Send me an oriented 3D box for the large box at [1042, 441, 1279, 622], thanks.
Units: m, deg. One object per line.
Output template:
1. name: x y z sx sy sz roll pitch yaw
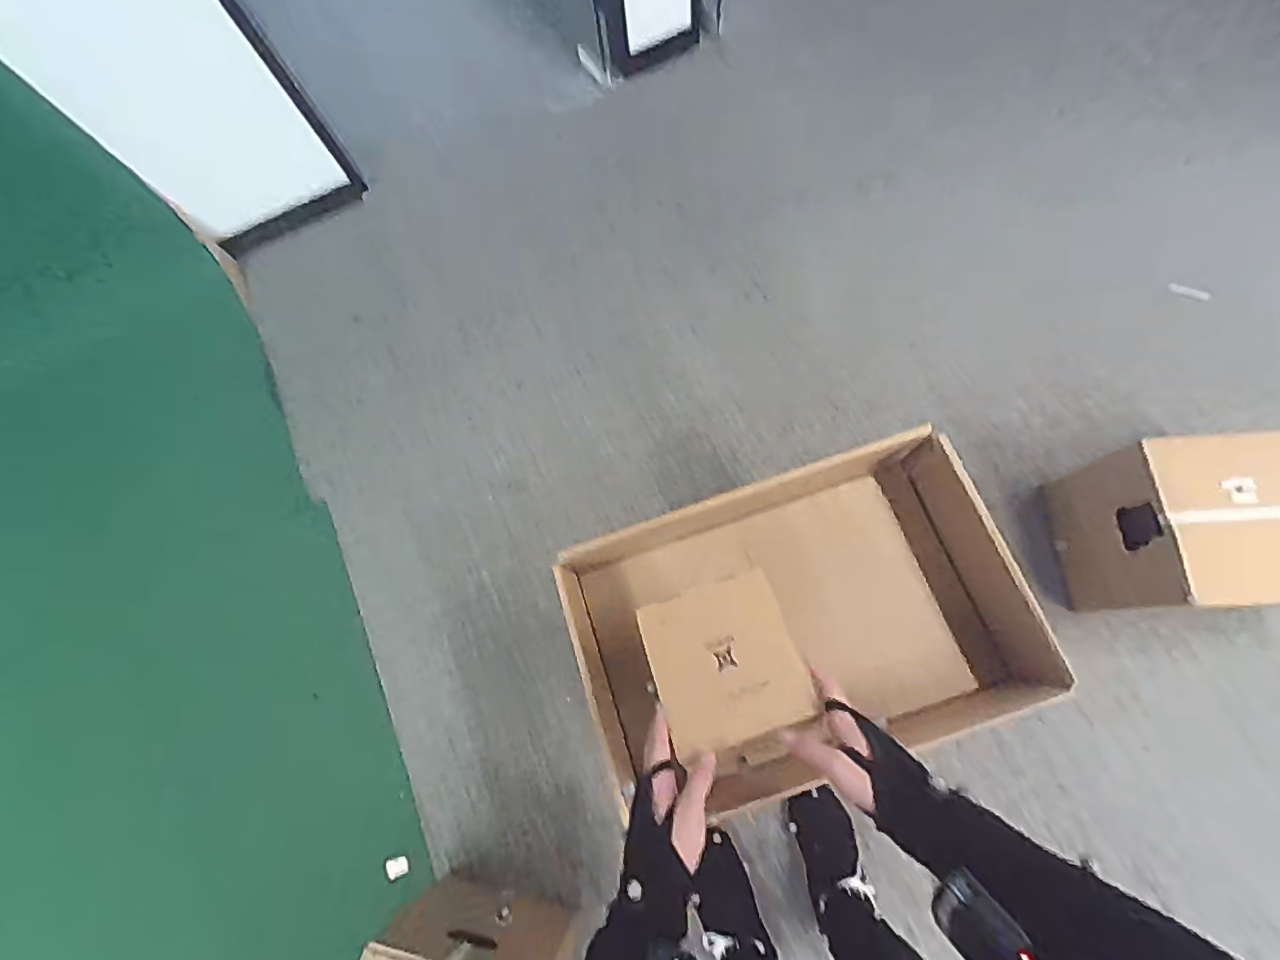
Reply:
1. large box: 1.154 0.120 1.106 0.408 0.320 0.320 -3 72 5
